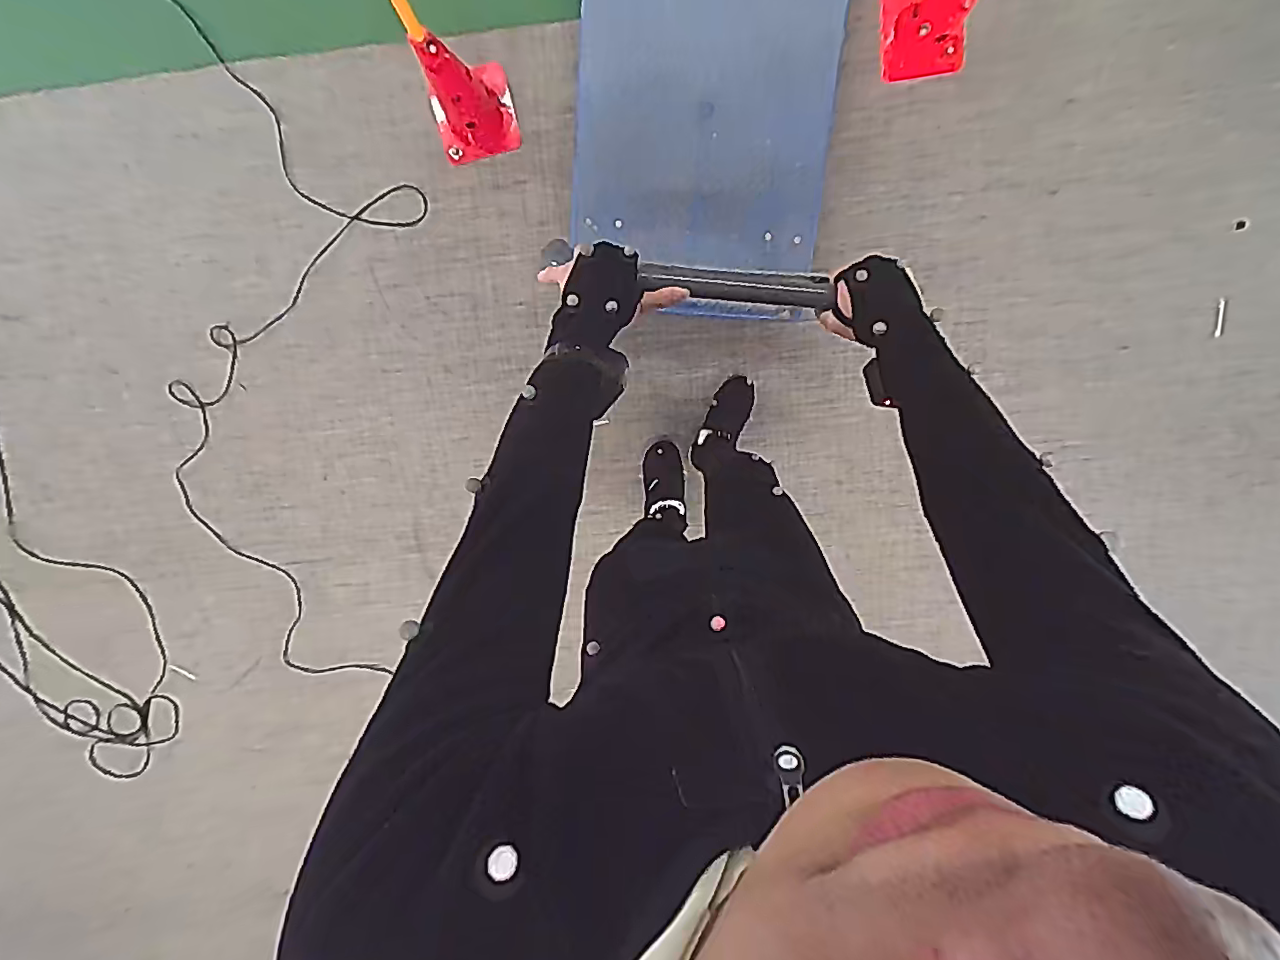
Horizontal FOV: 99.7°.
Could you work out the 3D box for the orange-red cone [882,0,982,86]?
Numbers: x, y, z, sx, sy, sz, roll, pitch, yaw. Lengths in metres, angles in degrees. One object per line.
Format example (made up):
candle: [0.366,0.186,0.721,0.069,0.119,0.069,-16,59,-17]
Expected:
orange-red cone: [0.682,-1.032,1.134,0.198,0.360,0.199,-5,101,2]
